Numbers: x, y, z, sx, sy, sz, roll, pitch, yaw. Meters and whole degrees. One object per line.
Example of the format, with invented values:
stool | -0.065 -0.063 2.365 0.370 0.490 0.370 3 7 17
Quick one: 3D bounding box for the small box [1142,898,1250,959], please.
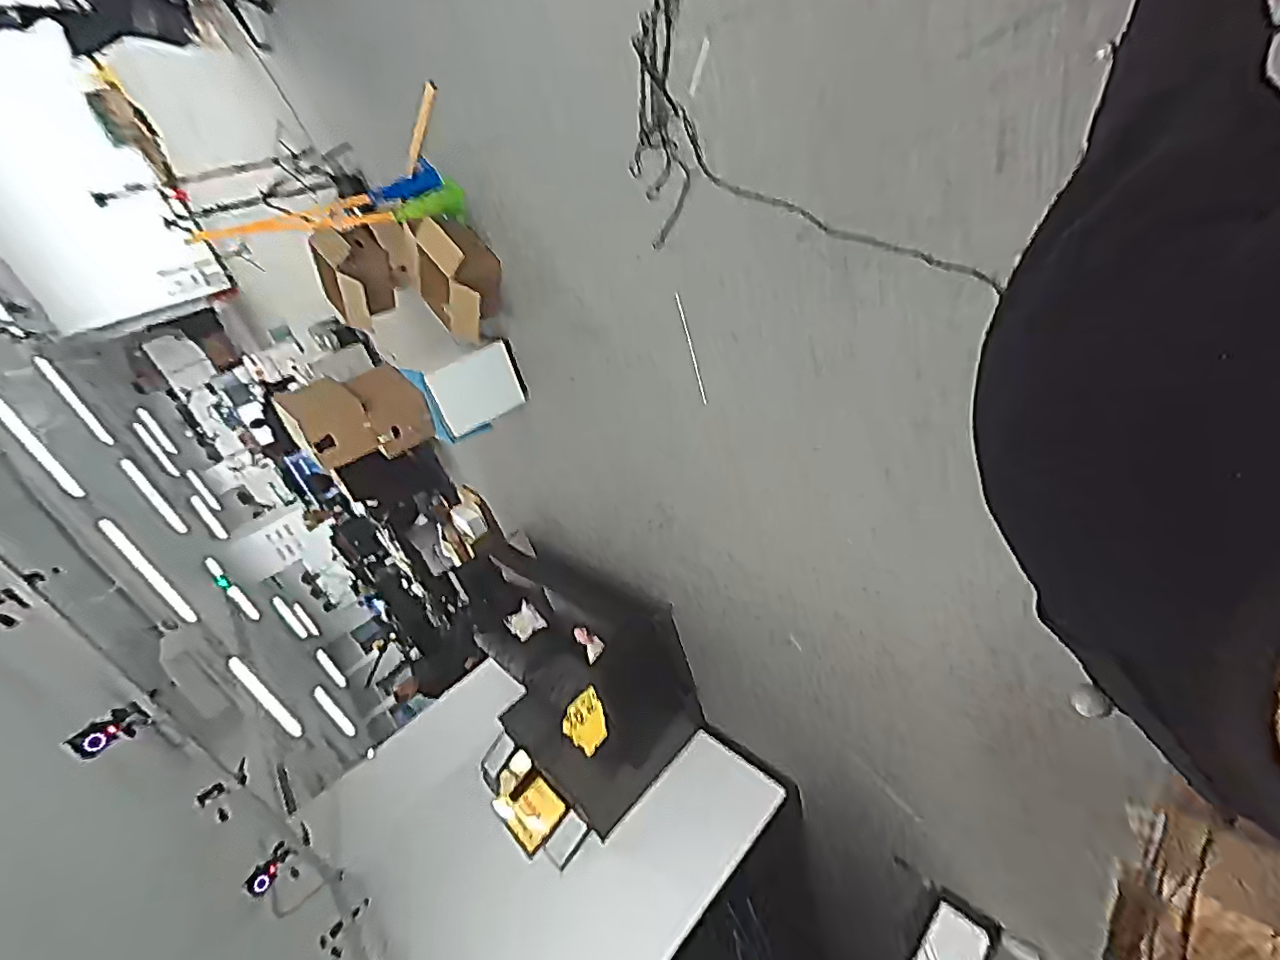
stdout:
small box | 1.343 1.181 1.312 0.168 0.176 0.179 10 125 51
